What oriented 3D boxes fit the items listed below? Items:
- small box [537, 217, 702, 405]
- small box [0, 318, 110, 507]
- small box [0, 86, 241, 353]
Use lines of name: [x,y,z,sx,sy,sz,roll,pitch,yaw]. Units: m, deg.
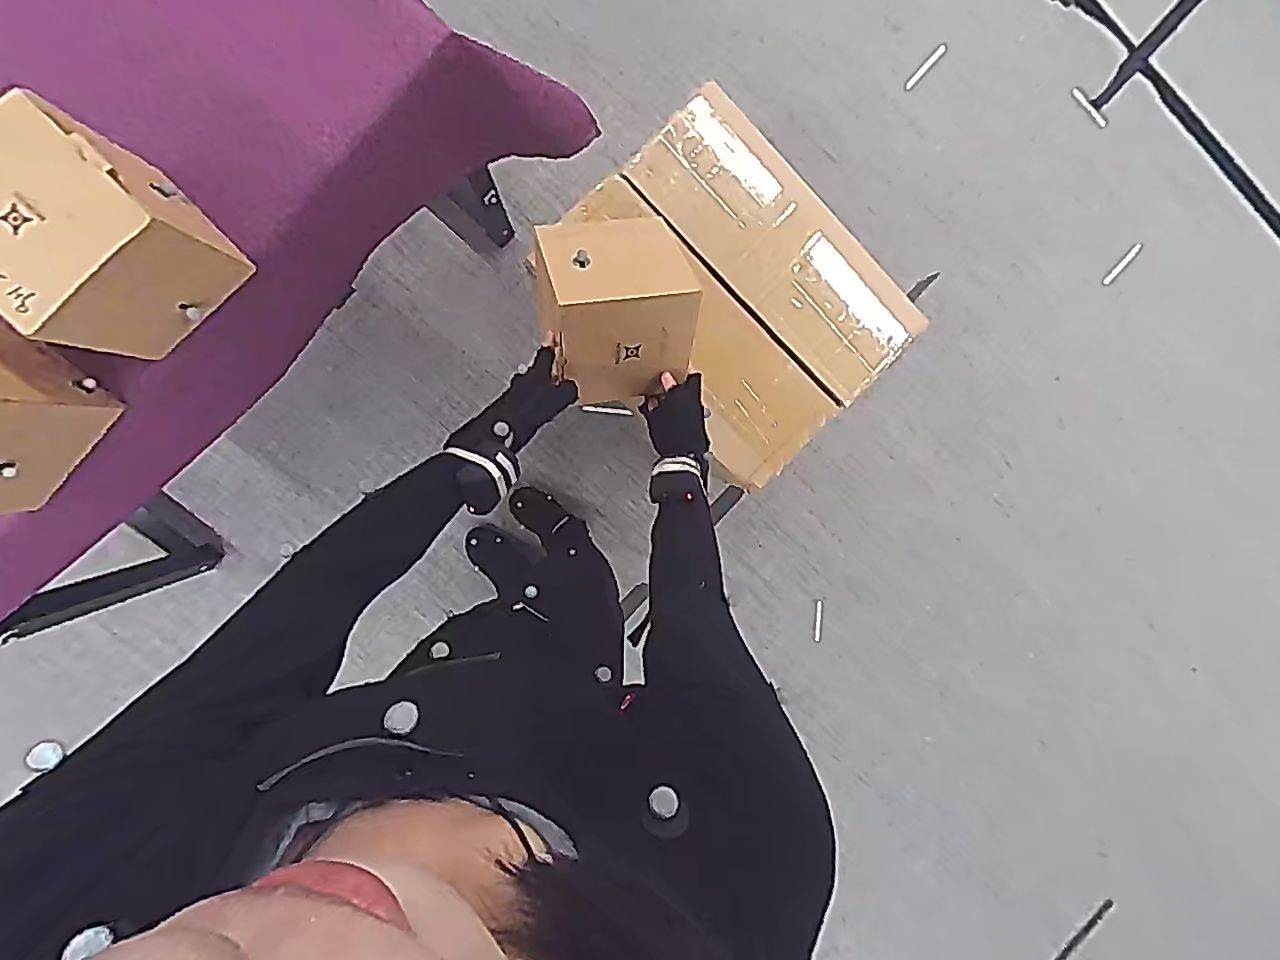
small box: [-0.038,-0.226,0.719,0.179,0.168,0.176,-11,56,-13]
small box: [-0.764,-0.080,0.600,0.168,0.176,0.179,41,91,-6]
small box: [-0.598,-0.268,0.602,0.179,0.176,0.168,-43,96,-2]
